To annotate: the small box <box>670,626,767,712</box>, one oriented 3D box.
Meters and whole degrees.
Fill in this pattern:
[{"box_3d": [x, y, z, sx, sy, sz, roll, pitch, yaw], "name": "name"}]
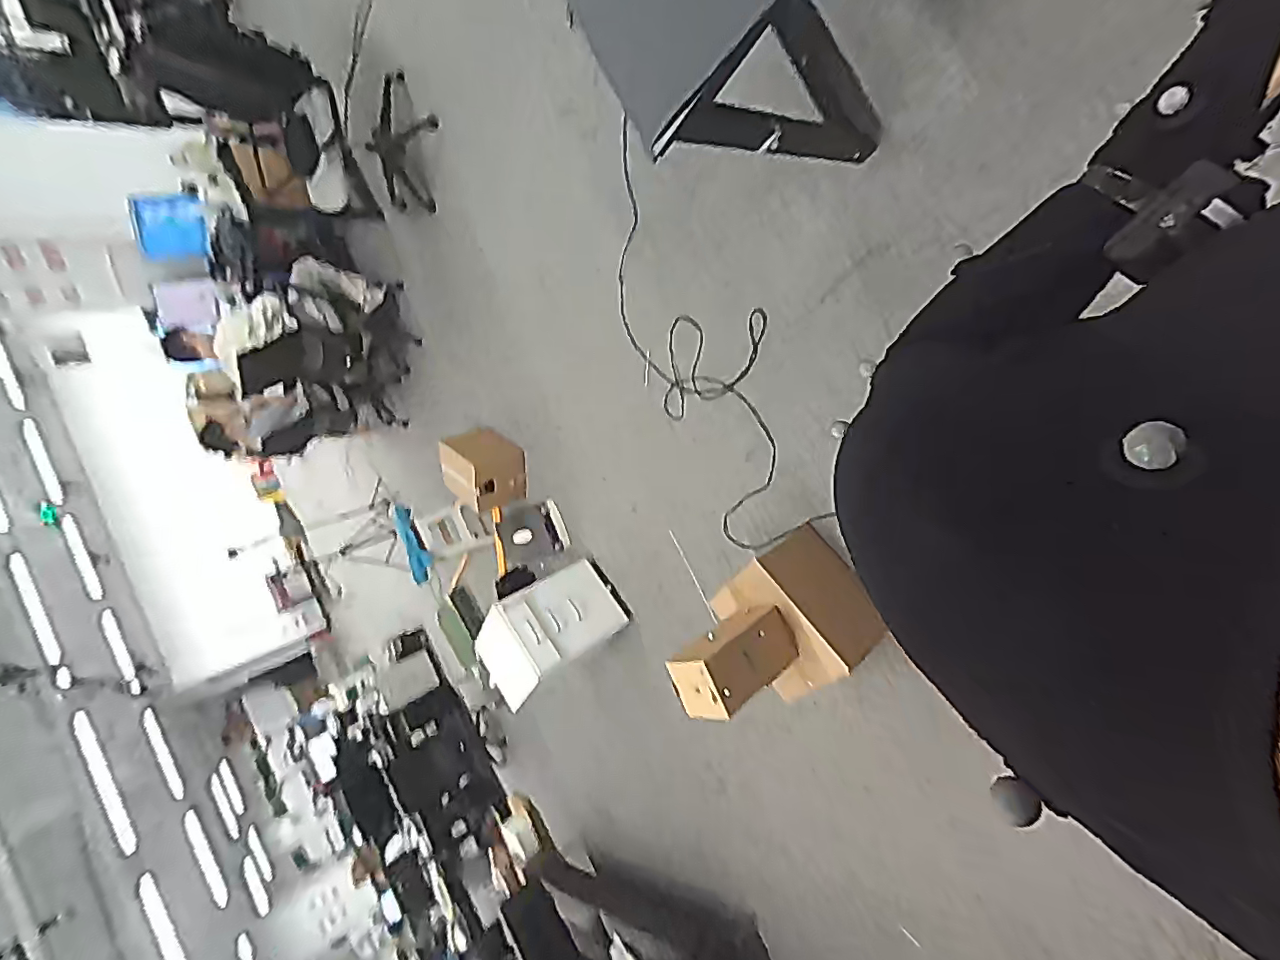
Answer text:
[{"box_3d": [0.224, 0.528, 1.527, 0.179, 0.176, 0.168, -27, 88, 53], "name": "small box"}]
